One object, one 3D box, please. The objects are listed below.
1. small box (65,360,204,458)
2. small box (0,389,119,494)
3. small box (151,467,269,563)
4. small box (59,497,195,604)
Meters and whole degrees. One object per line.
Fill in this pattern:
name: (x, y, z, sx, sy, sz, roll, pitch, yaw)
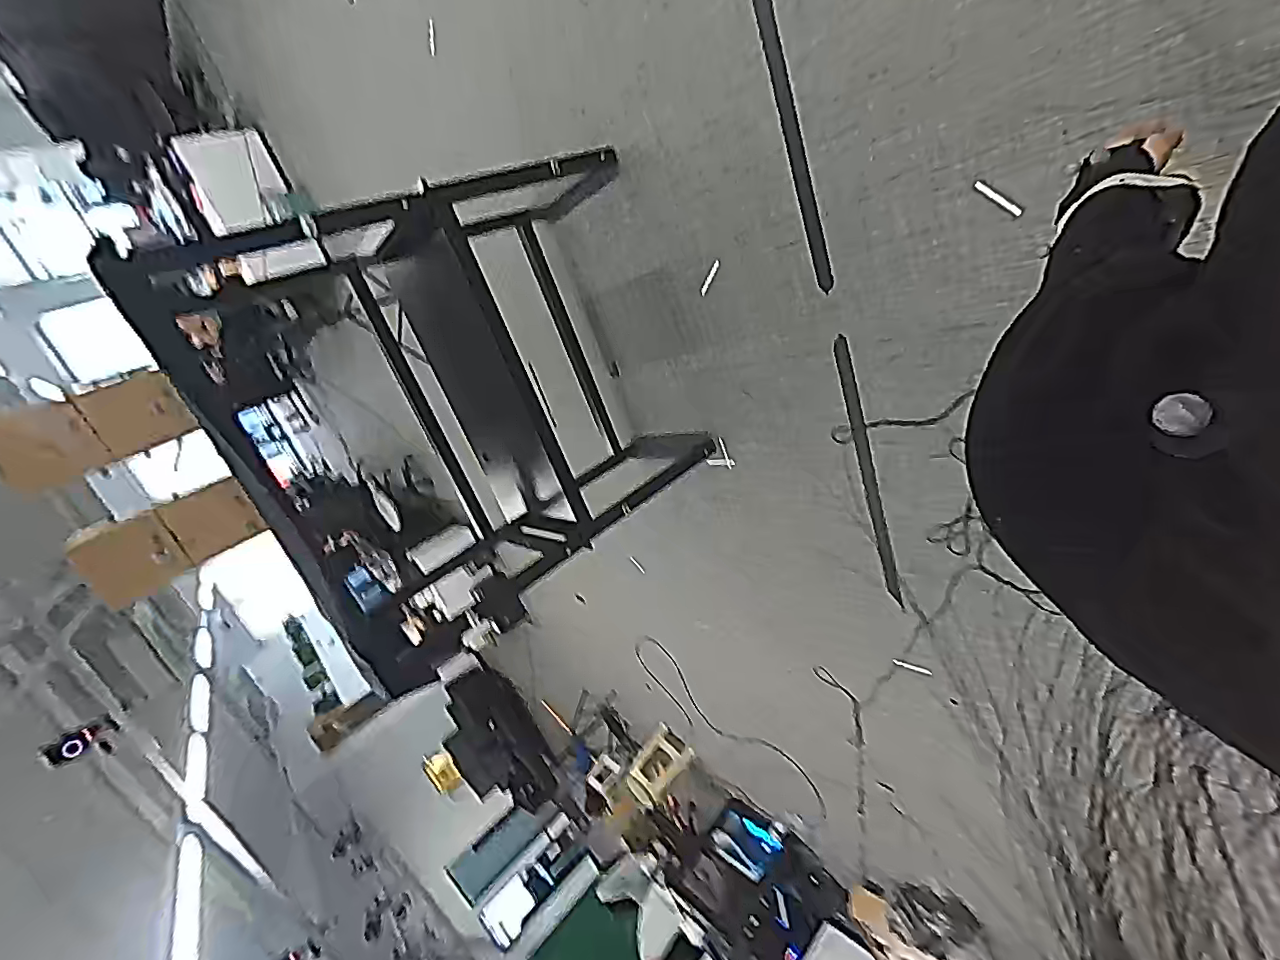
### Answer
small box: (-1.140, -0.164, 1.239, 0.179, 0.176, 0.168, 7, 125, 52)
small box: (-1.258, -0.087, 1.154, 0.179, 0.176, 0.168, 7, 124, 51)
small box: (-1.044, 0.078, 1.329, 0.179, 0.176, 0.168, 7, 124, 54)
small box: (-1.163, 0.153, 1.247, 0.179, 0.176, 0.168, 7, 124, 52)
